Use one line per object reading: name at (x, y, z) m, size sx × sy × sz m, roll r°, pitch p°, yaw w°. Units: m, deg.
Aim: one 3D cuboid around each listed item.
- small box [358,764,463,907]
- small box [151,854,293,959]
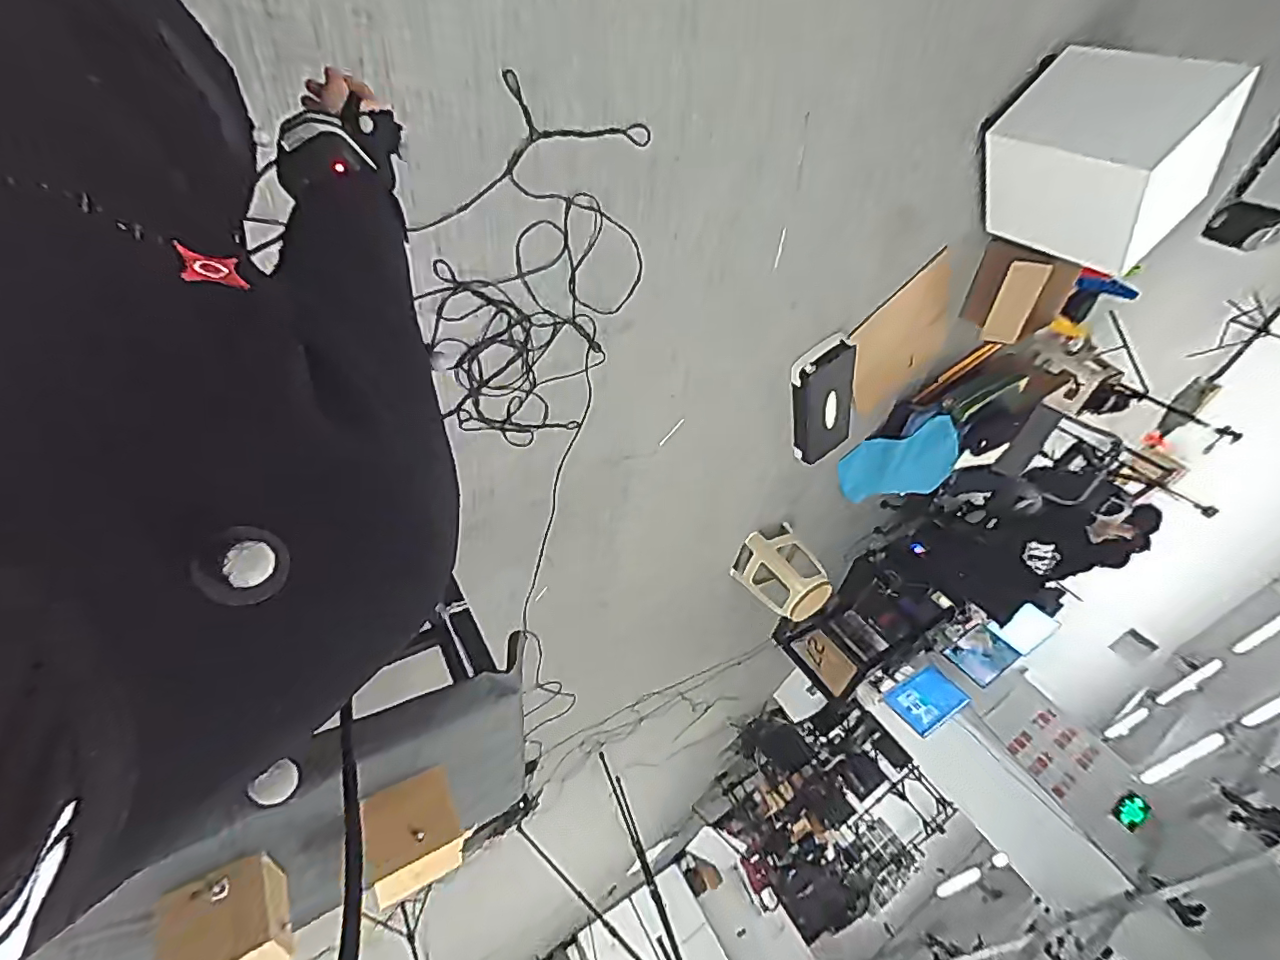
small box at (-0.501, 0.763, 1.173) m, size 0.179 × 0.176 × 0.168 m, roll -14°, pitch 135°, yaw -34°
small box at (-0.769, 0.842, 1.003) m, size 0.168 × 0.176 × 0.179 m, roll -18°, pitch 137°, yaw -31°
